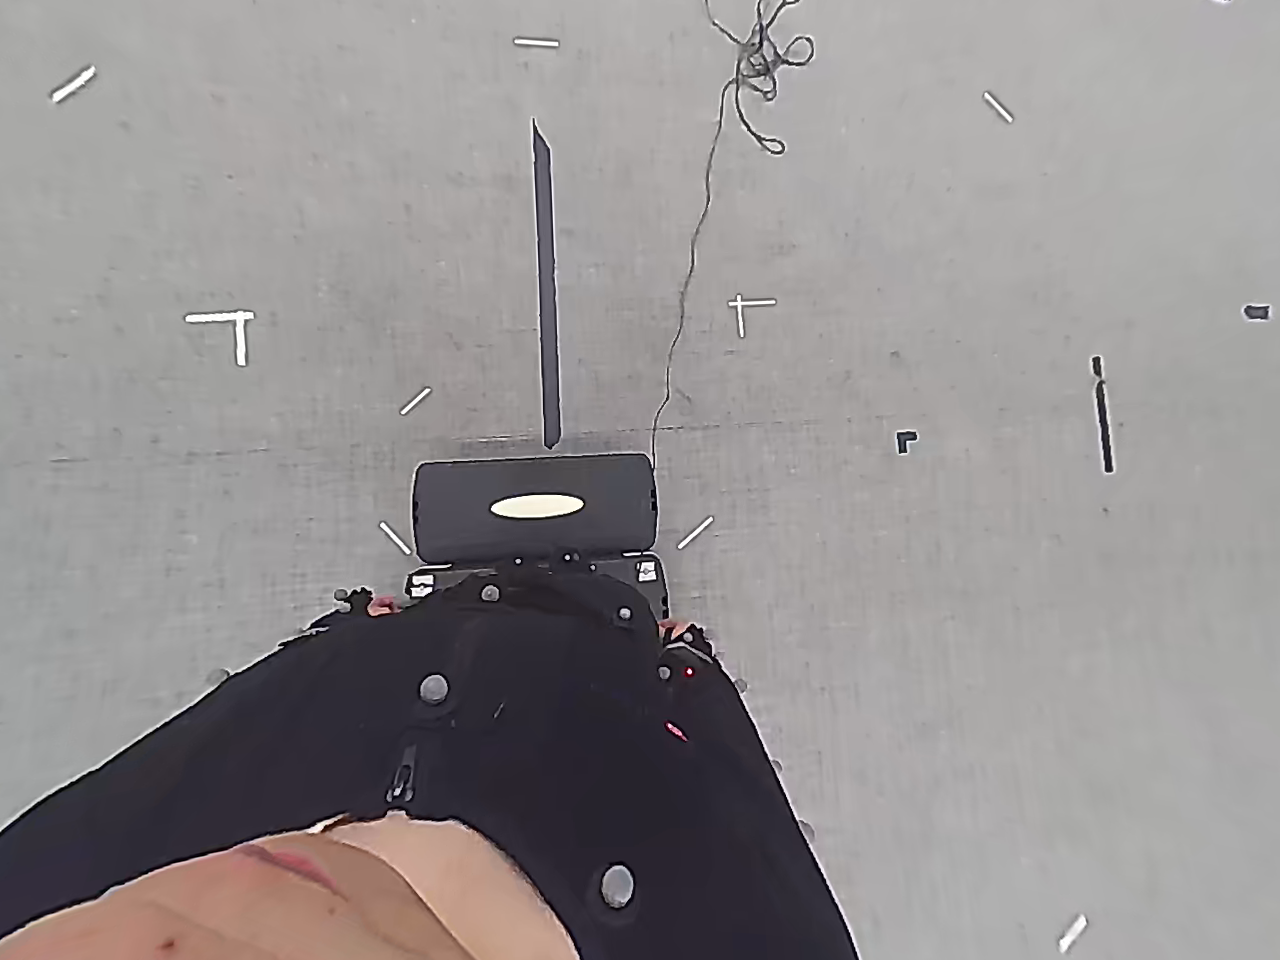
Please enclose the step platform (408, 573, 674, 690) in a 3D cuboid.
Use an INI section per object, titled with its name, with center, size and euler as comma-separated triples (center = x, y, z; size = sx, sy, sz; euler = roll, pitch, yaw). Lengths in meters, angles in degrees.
[step platform]
center = -0.250, 0.398, 1.444
size = 0.684, 0.204, 0.286
euler = 1, 82, -5
